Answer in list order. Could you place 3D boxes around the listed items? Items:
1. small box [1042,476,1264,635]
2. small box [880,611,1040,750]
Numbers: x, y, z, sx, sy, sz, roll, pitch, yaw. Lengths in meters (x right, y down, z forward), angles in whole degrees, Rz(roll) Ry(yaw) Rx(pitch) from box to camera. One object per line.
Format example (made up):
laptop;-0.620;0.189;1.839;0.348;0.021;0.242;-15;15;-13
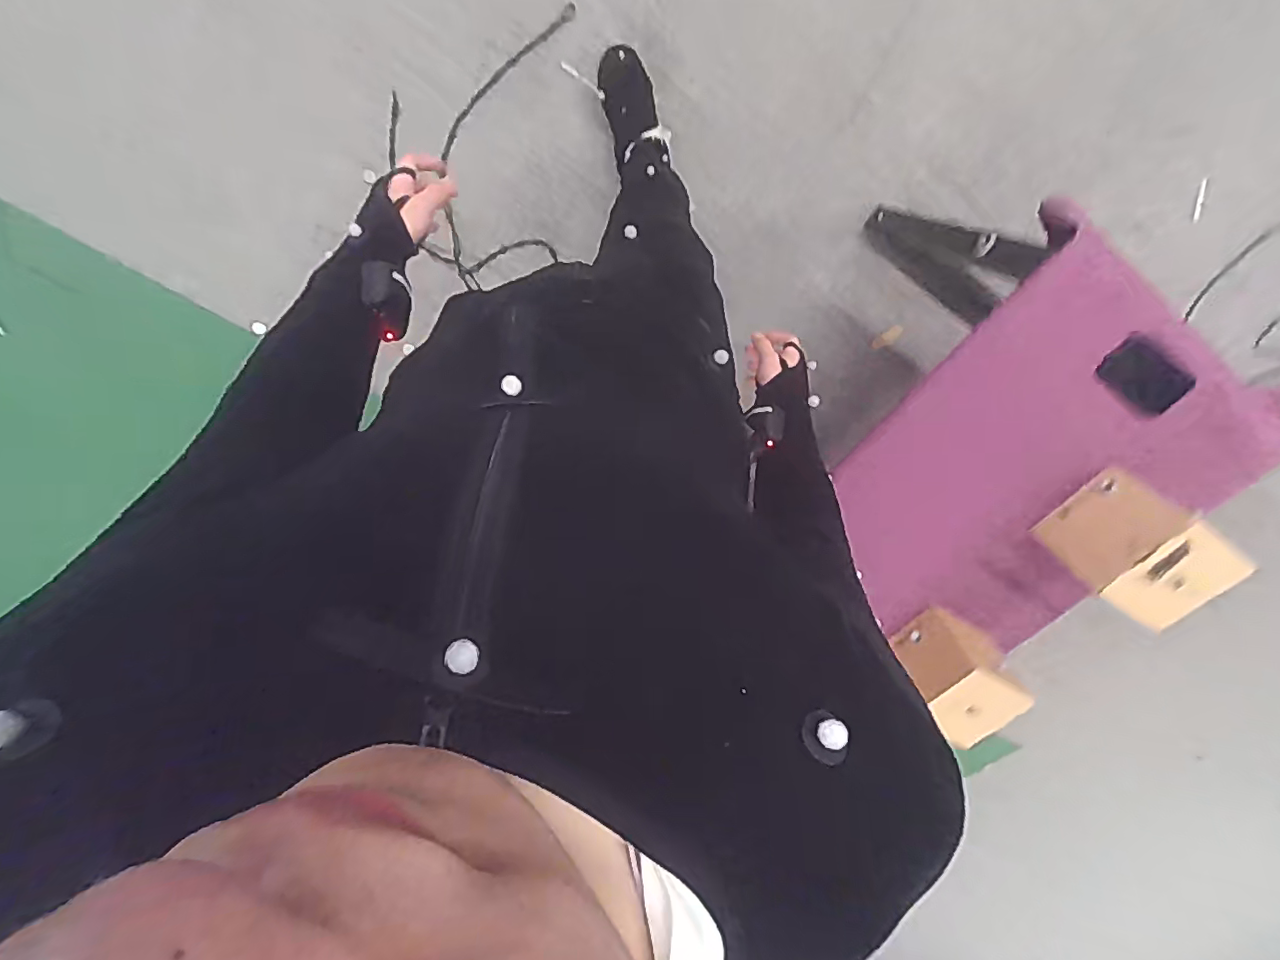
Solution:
small box;0.829;0.116;0.896;0.179;0.176;0.168;28;117;-17
small box;0.618;0.390;1.066;0.179;0.176;0.168;30;116;-17
